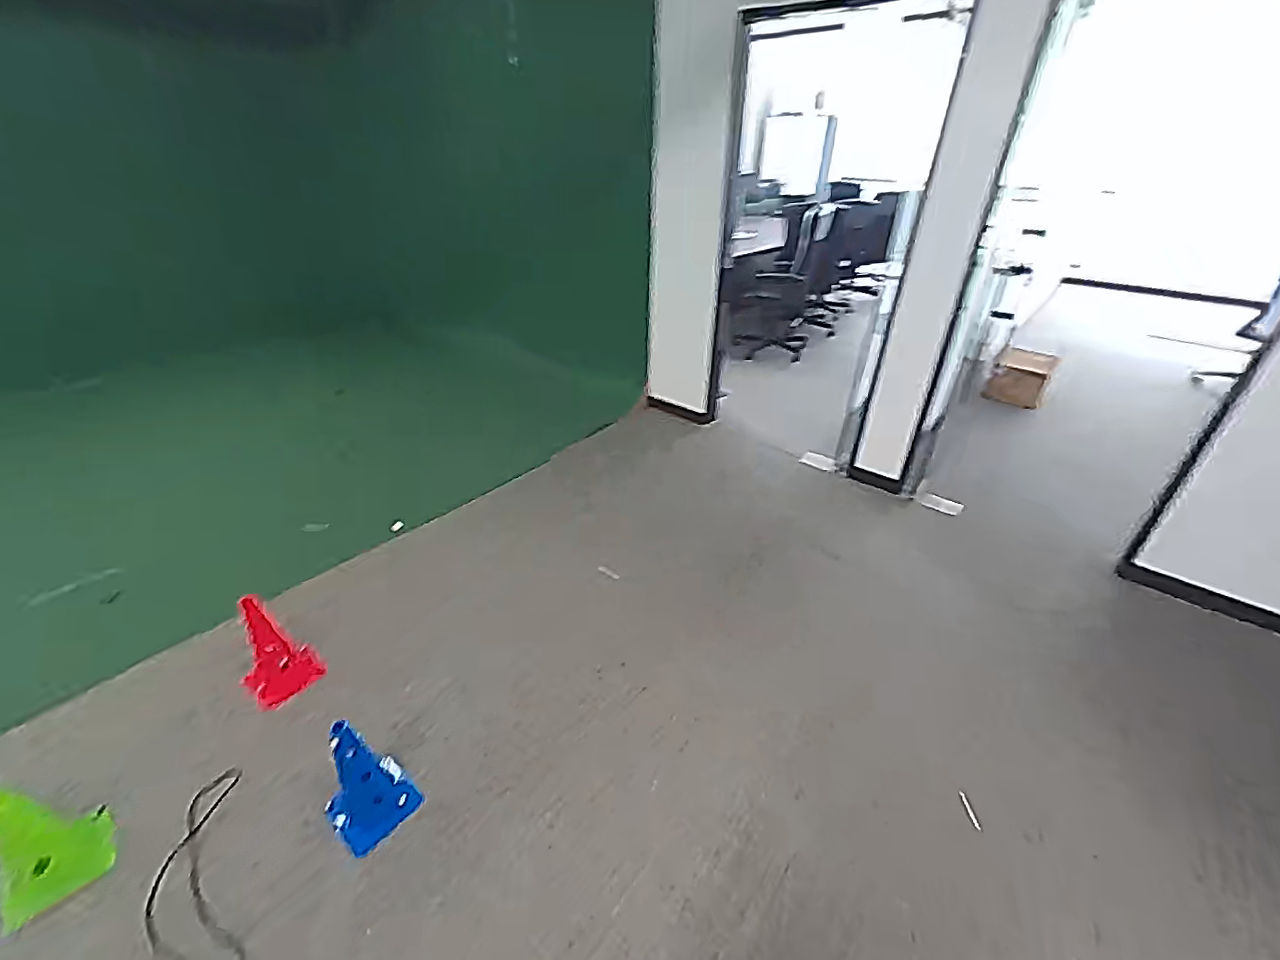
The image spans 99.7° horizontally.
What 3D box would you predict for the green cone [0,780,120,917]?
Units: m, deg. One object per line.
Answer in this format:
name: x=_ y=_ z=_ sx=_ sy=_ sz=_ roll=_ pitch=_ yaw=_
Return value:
green cone: x=-1.433 y=0.790 z=1.252 sx=0.202 sy=0.368 sz=0.200 roll=28 pitch=42 yaw=34
